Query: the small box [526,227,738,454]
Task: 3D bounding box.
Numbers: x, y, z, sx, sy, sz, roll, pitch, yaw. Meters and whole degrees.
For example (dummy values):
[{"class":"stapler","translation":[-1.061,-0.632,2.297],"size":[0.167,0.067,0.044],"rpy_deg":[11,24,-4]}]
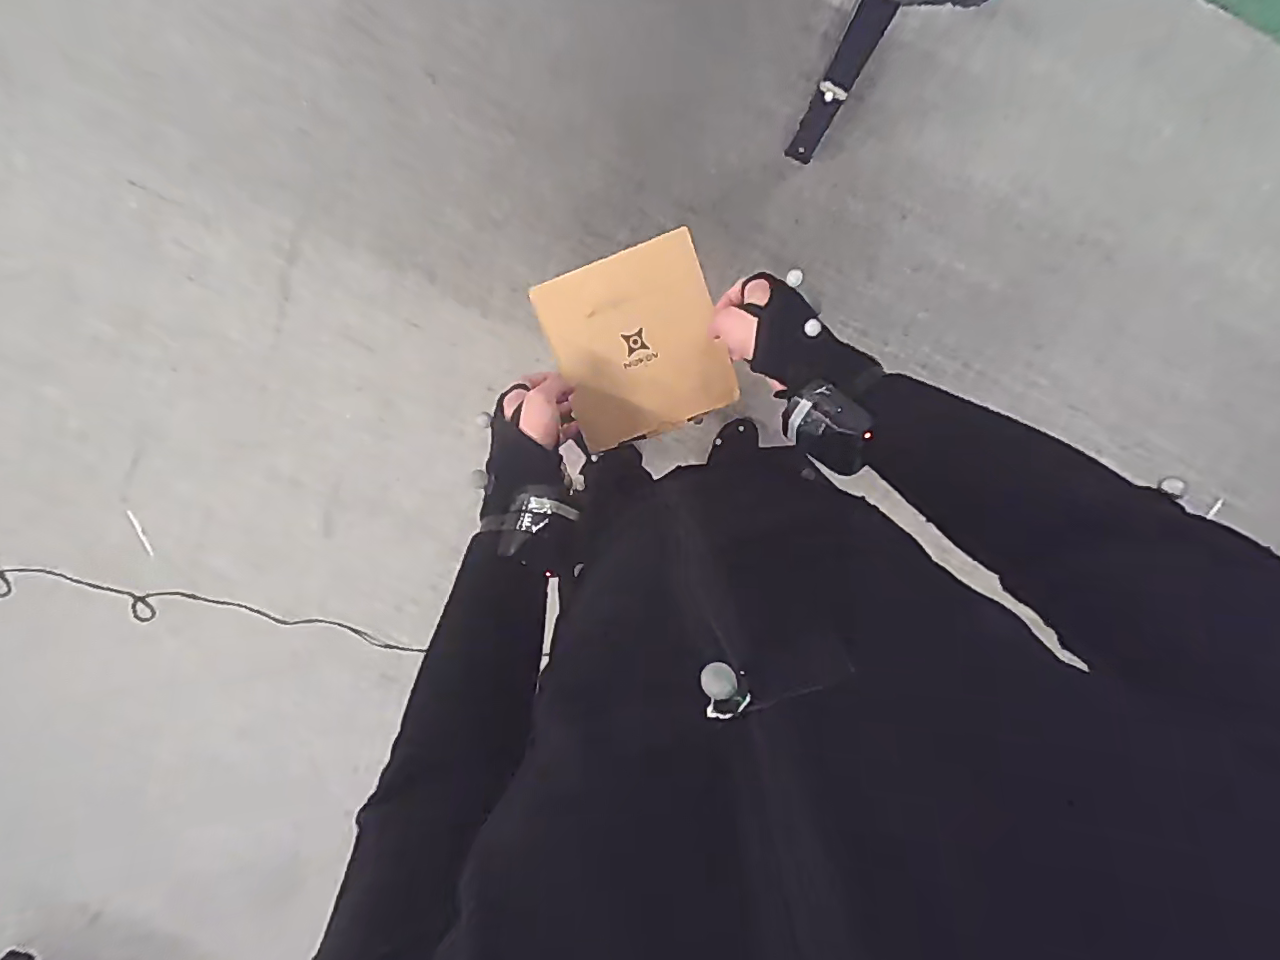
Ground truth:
[{"class":"small box","translation":[-0.003,-0.147,0.603],"size":[0.168,0.176,0.179],"rpy_deg":[-20,100,5]}]
